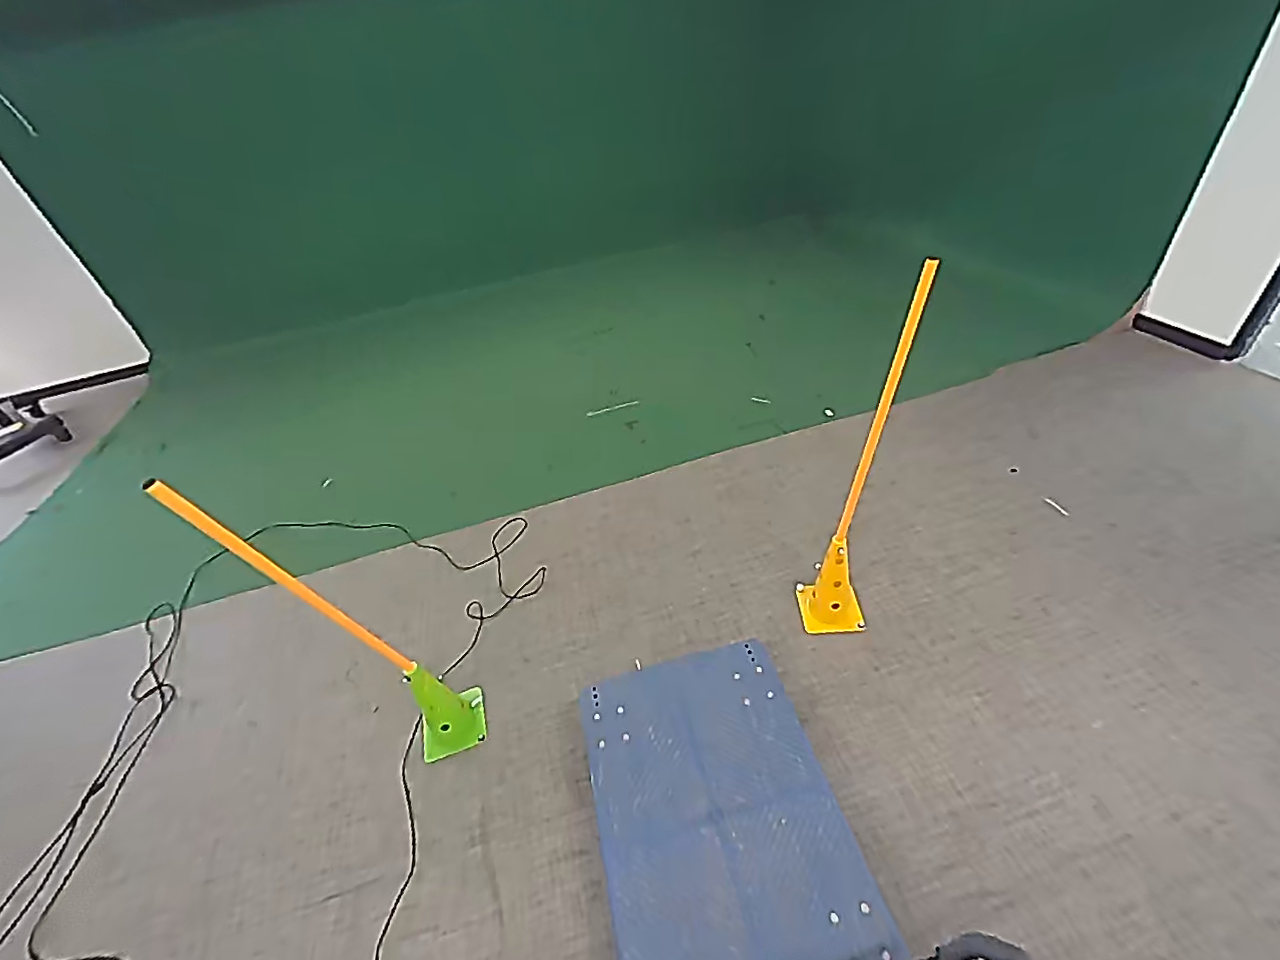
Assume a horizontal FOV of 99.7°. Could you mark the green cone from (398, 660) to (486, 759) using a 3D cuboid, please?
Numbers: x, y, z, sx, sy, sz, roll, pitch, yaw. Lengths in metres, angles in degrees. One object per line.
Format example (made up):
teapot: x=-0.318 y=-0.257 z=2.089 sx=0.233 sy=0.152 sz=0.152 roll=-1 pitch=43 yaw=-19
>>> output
green cone: x=-0.640 y=0.662 z=1.669 sx=0.202 sy=0.368 sz=0.200 roll=-20 pitch=41 yaw=-8
